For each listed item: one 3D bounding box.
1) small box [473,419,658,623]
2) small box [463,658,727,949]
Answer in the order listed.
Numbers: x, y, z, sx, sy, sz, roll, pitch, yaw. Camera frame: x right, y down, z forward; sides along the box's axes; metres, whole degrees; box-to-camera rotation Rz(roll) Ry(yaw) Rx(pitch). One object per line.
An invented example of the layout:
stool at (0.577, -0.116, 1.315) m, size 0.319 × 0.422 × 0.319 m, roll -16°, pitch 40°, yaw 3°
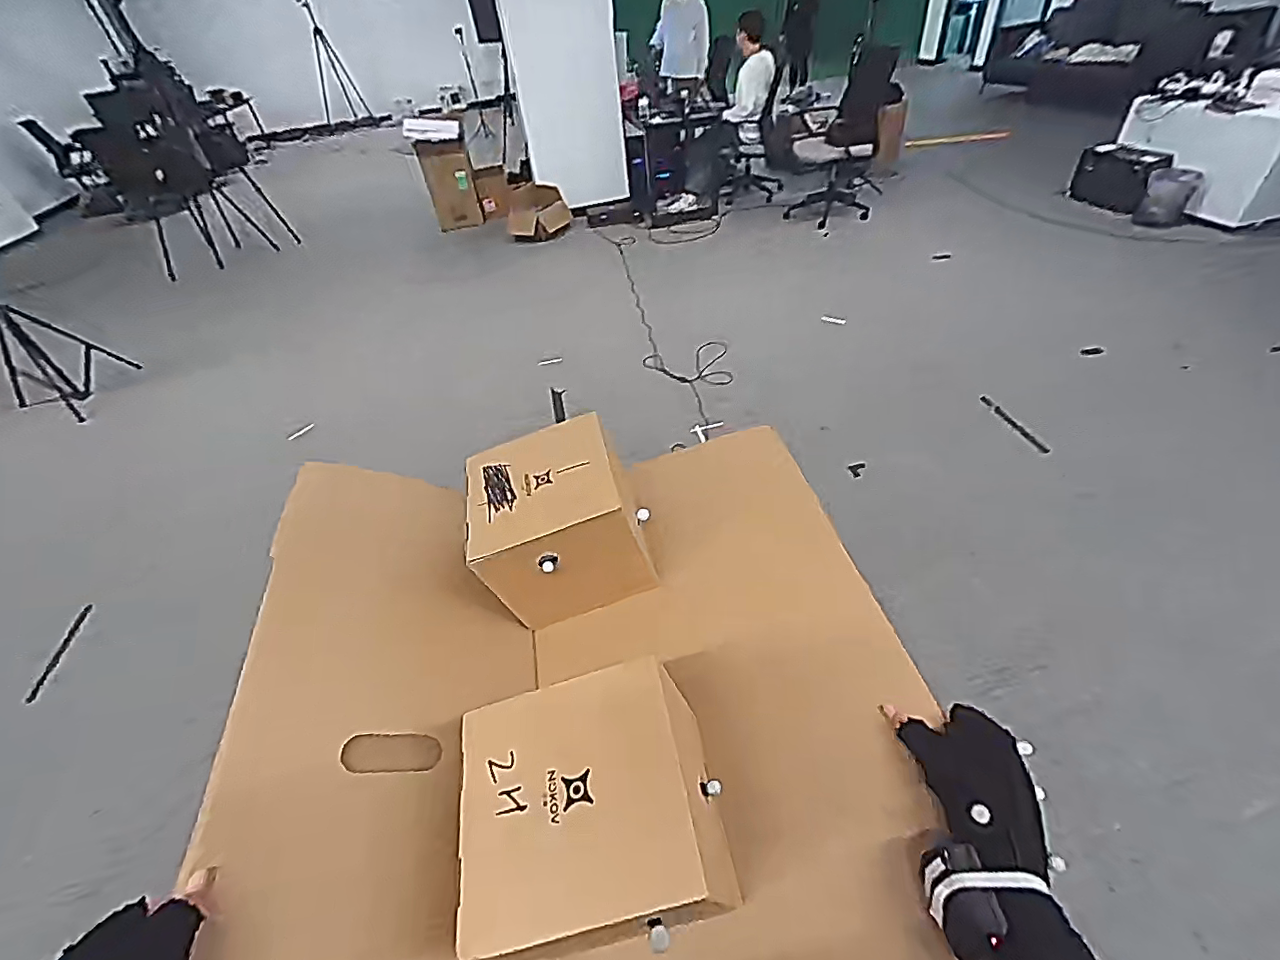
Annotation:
small box at (-0.093, 0.058, 0.689) m, size 0.179 × 0.176 × 0.168 m, roll -19°, pitch 47°, yaw 3°
small box at (-0.030, 0.283, 0.471) m, size 0.179 × 0.176 × 0.168 m, roll -18°, pitch 47°, yaw 5°
